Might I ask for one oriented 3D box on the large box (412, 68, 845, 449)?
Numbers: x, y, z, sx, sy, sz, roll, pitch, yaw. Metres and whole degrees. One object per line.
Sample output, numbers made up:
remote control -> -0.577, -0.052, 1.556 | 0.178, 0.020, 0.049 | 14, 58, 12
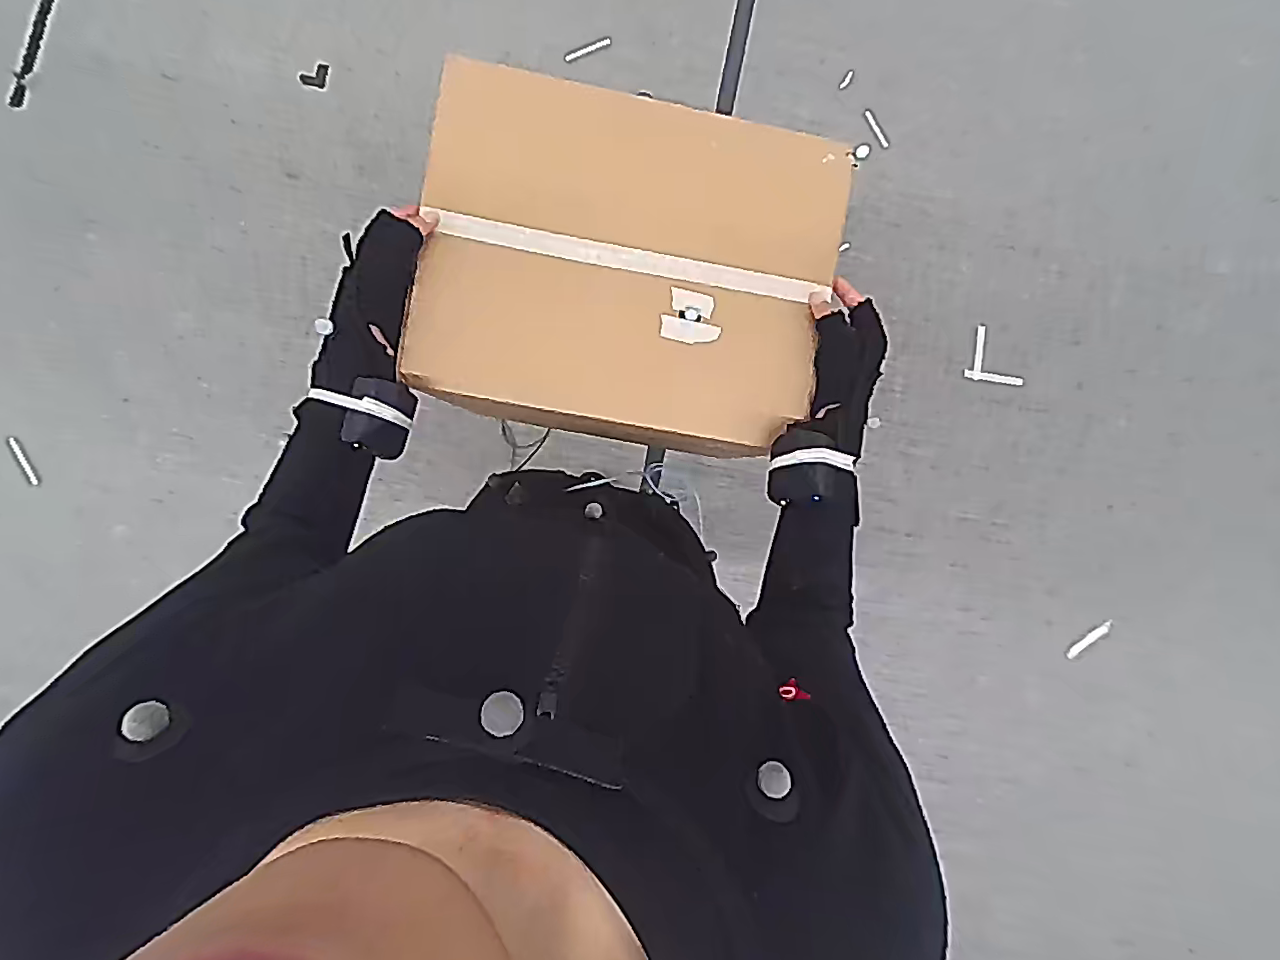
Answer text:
large box -> -0.021, -0.222, 0.685 | 0.408, 0.320, 0.320 | 9, 92, -6
